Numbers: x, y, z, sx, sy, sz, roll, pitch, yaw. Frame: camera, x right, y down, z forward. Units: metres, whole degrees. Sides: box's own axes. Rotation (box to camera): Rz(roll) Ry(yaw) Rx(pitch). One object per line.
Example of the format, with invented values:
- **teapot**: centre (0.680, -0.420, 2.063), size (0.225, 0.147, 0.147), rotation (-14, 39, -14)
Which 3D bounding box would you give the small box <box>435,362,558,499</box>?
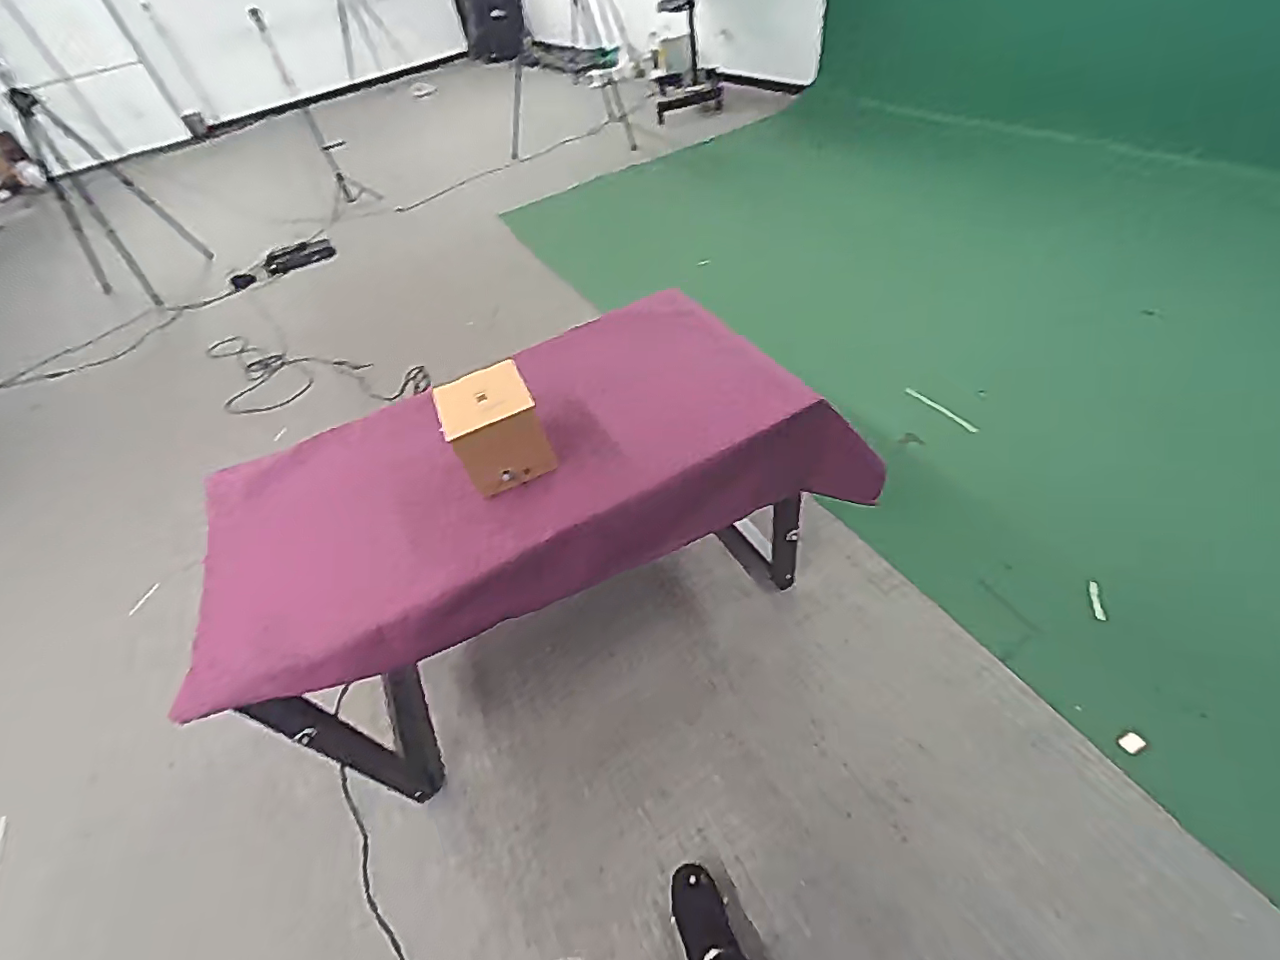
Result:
- **small box**: centre (-0.277, -0.096, 1.059), size (0.168, 0.176, 0.179), rotation (-24, 48, -9)
